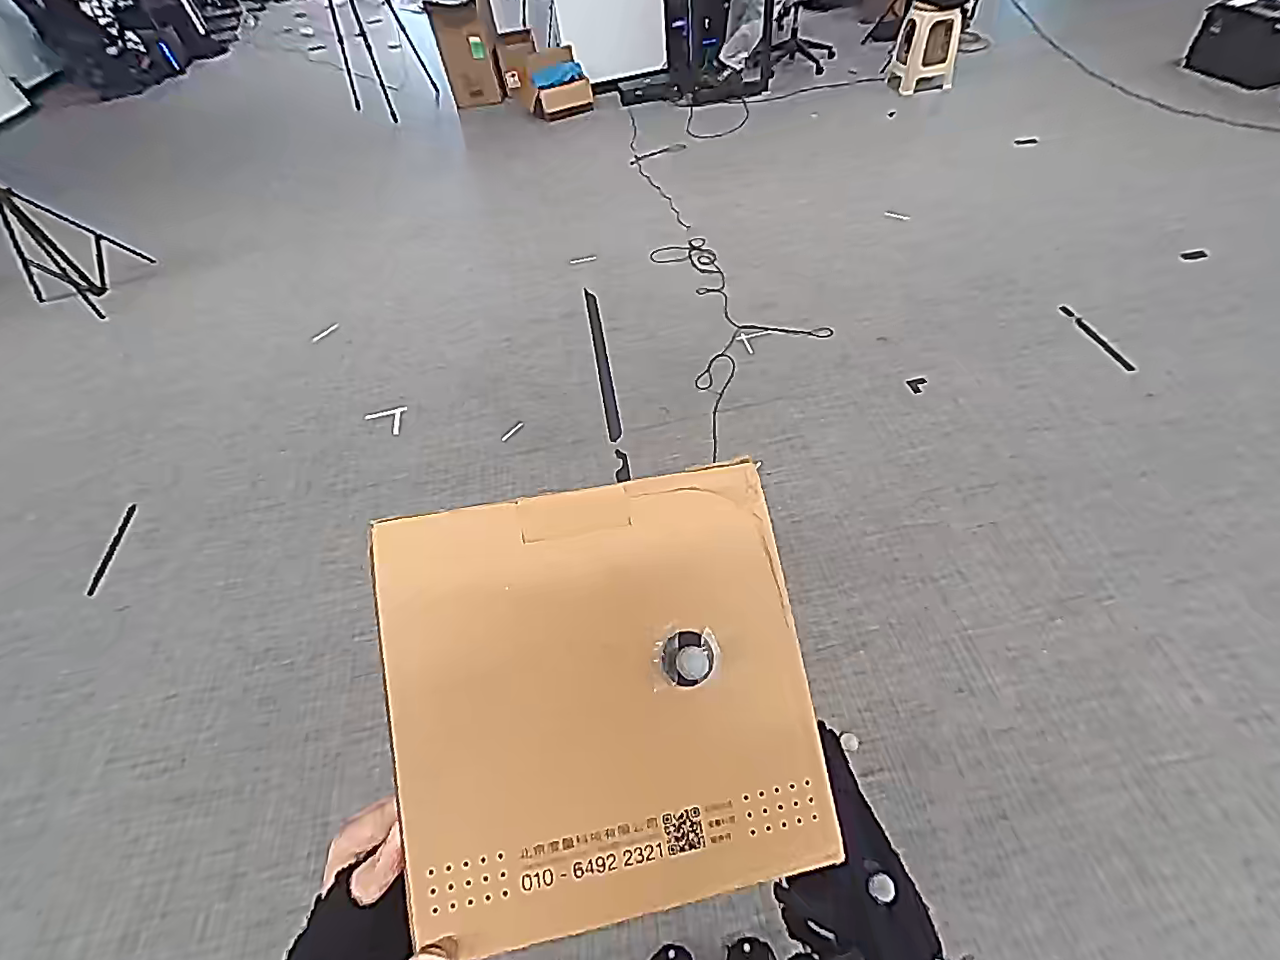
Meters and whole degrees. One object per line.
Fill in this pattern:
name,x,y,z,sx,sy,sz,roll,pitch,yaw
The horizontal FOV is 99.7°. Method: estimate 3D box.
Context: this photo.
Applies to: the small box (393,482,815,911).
small box,-0.018,0.108,0.313,0.168,0.179,0.176,-9,82,-5
